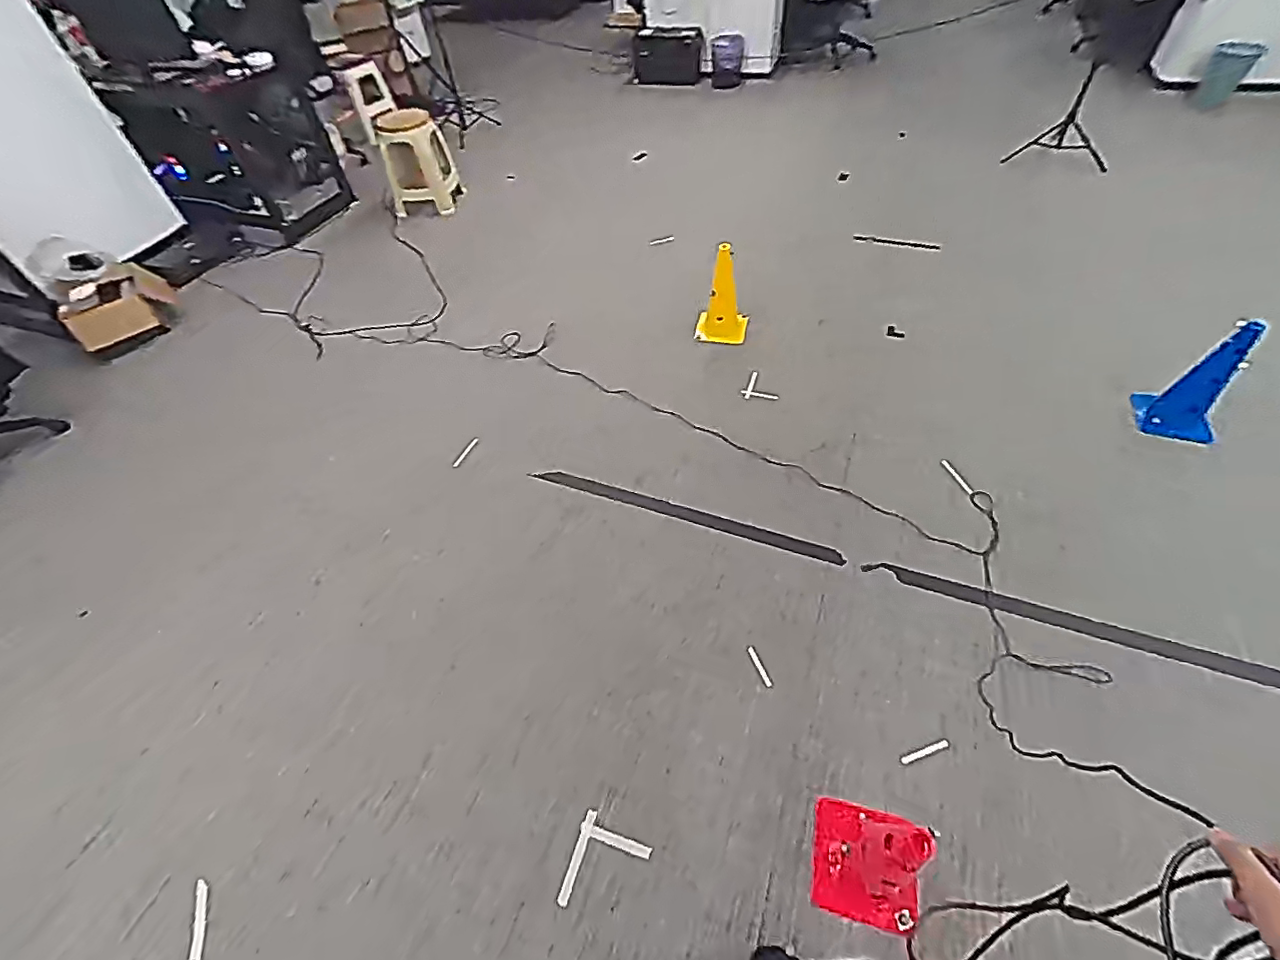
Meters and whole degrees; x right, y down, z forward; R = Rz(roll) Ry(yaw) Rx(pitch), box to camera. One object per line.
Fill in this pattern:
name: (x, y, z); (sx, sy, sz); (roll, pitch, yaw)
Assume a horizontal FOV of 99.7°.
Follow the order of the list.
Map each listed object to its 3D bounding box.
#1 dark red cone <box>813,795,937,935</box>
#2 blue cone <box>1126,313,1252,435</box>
dark red cone: (0.434, 0.639, 0.936); (0.202, 0.394, 0.201); (8, 50, 12)
blue cone: (1.714, -0.332, 1.655); (0.193, 0.380, 0.192); (15, 52, 17)
